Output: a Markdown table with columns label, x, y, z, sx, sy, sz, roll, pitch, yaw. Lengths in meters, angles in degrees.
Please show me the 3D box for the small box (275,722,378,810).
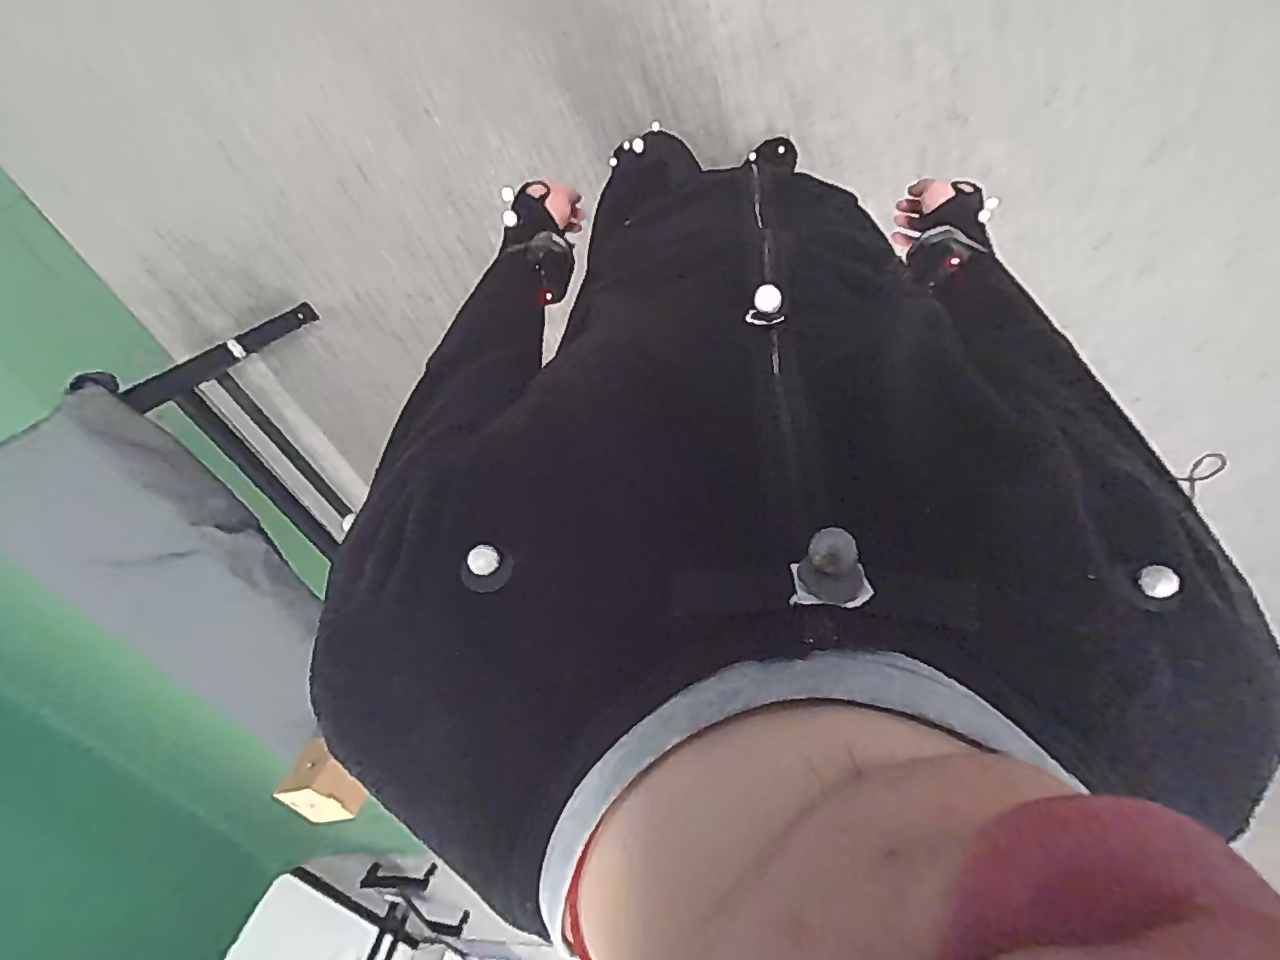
| label | x | y | z | sx | sy | sz | roll | pitch | yaw |
| --- | --- | --- | --- | --- | --- | --- | --- | --- | --- |
| small box | -0.908 | 0.836 | 1.589 | 0.179 | 0.176 | 0.168 | -20 | 118 | 22 |
